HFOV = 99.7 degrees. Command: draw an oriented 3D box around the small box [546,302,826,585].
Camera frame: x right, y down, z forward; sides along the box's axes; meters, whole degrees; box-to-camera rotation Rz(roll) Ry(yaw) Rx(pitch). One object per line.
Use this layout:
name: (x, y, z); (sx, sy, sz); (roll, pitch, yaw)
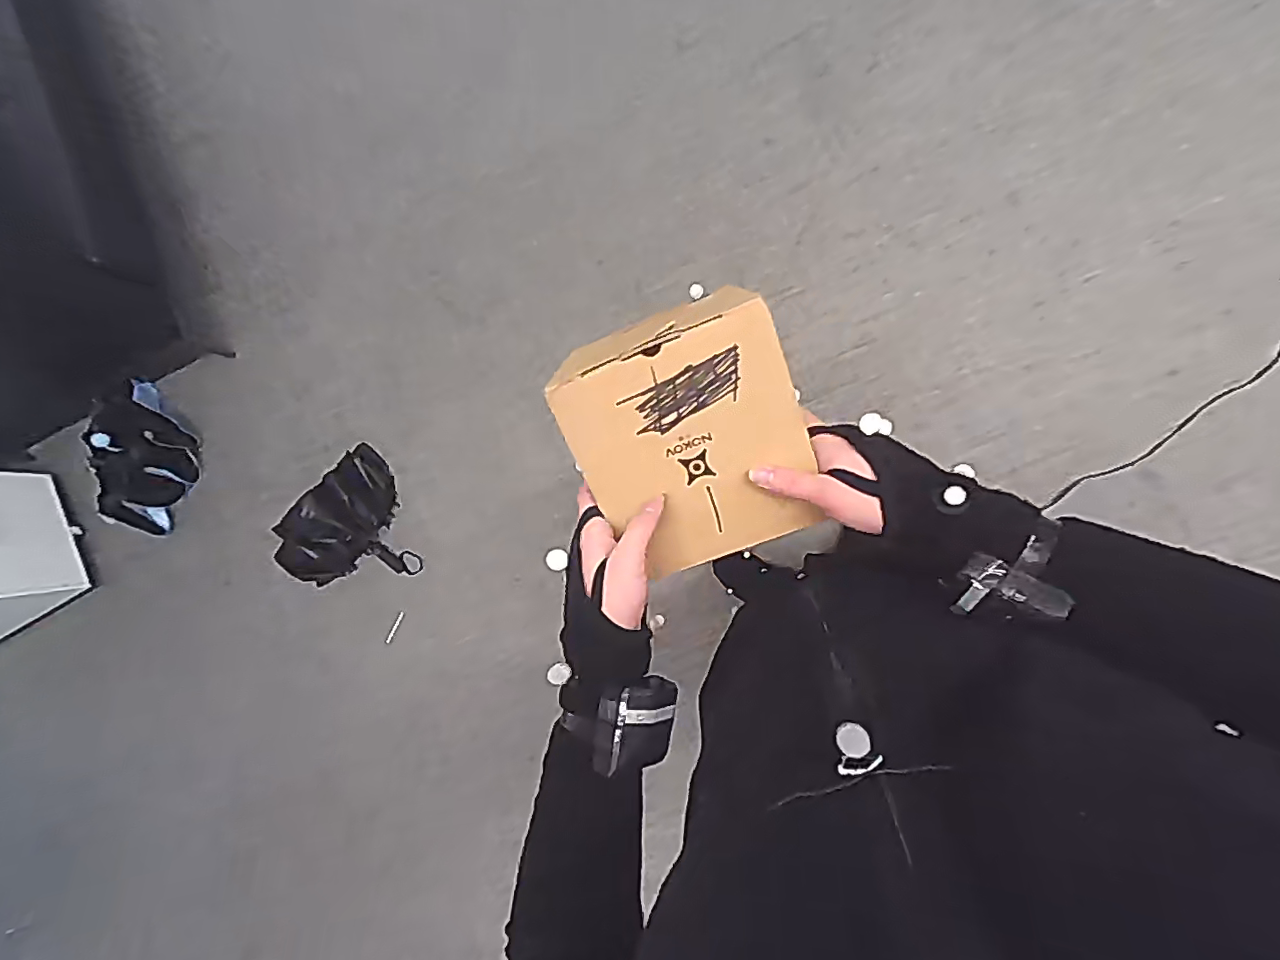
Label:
small box: (0.039, -0.044, 0.478); (0.168, 0.176, 0.179); (-22, 110, 10)
